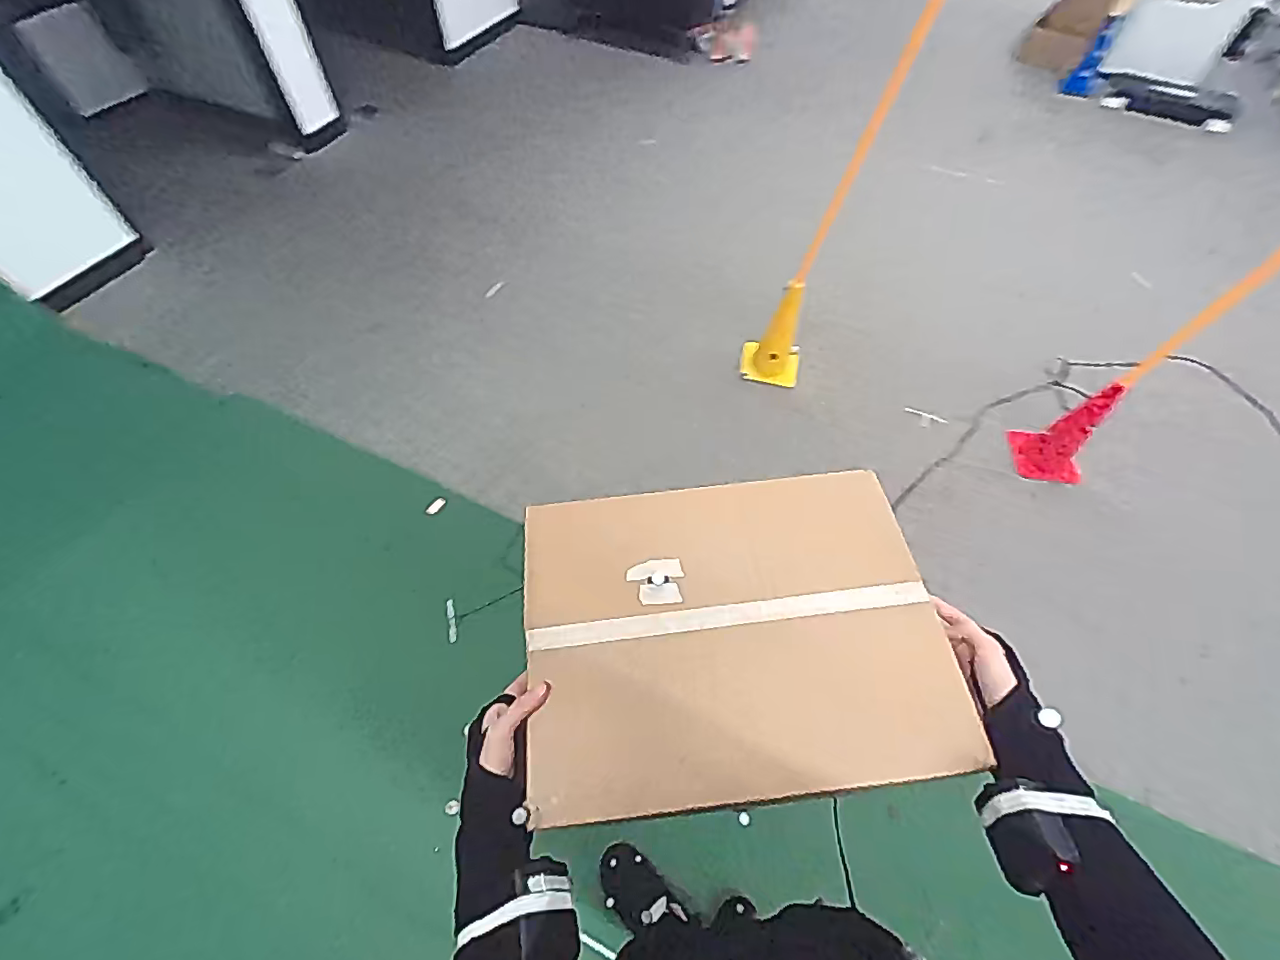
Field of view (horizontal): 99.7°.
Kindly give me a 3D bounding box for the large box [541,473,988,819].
[{"bbox_3d":[0.107,0.221,0.679,0.408,0.320,0.320,-6,57,0],"label":"large box"}]
